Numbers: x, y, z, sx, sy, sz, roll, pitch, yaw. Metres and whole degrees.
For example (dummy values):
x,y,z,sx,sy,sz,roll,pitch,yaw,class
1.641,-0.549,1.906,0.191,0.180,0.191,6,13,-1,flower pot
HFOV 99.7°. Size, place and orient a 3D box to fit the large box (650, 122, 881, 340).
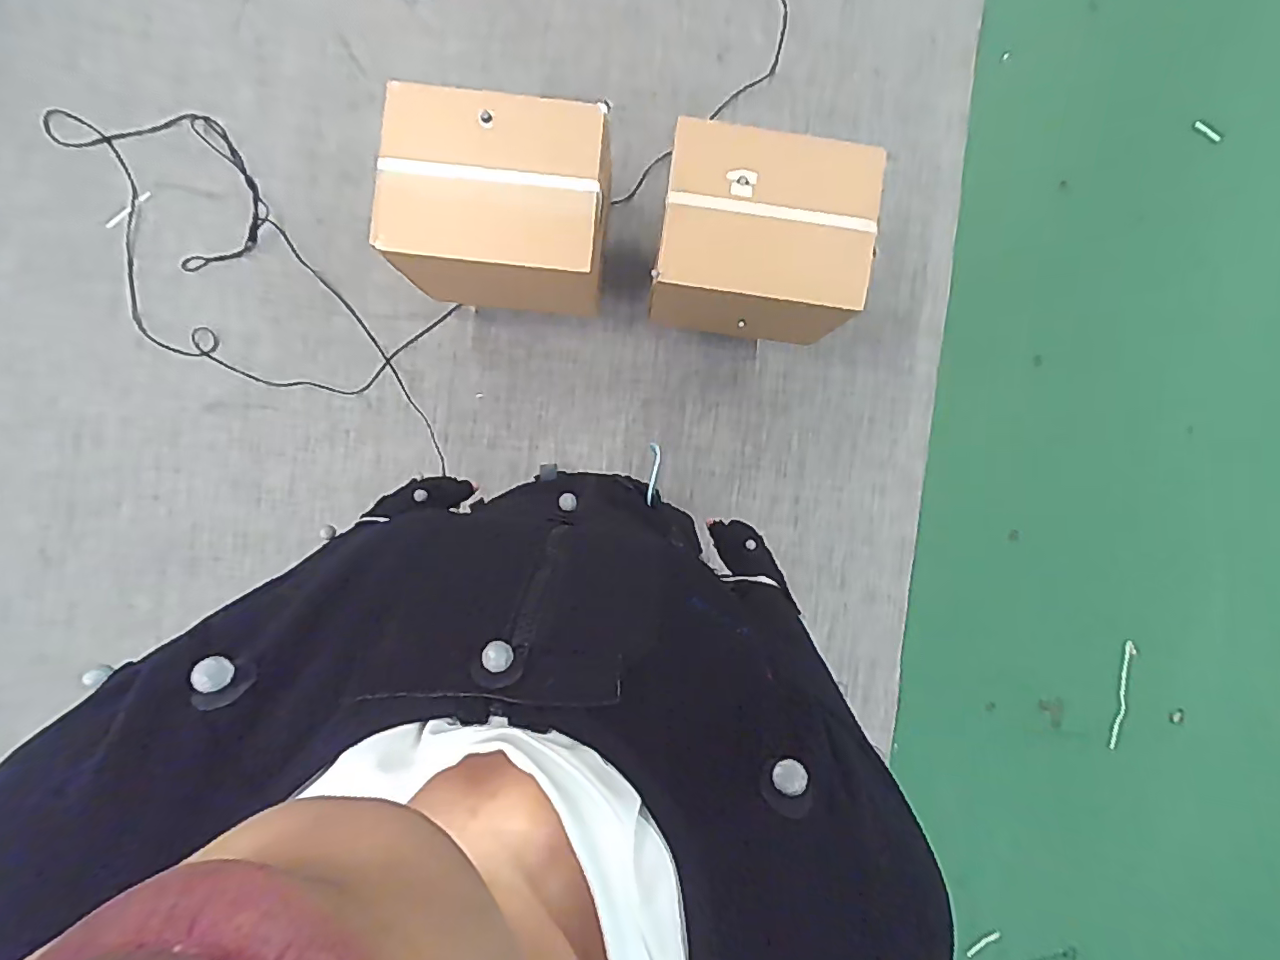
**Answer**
x,y,z,sx,sy,sz,roll,pitch,yaw,class
0.246,-0.511,1.184,0.408,0.320,0.320,8,91,-2,large box
